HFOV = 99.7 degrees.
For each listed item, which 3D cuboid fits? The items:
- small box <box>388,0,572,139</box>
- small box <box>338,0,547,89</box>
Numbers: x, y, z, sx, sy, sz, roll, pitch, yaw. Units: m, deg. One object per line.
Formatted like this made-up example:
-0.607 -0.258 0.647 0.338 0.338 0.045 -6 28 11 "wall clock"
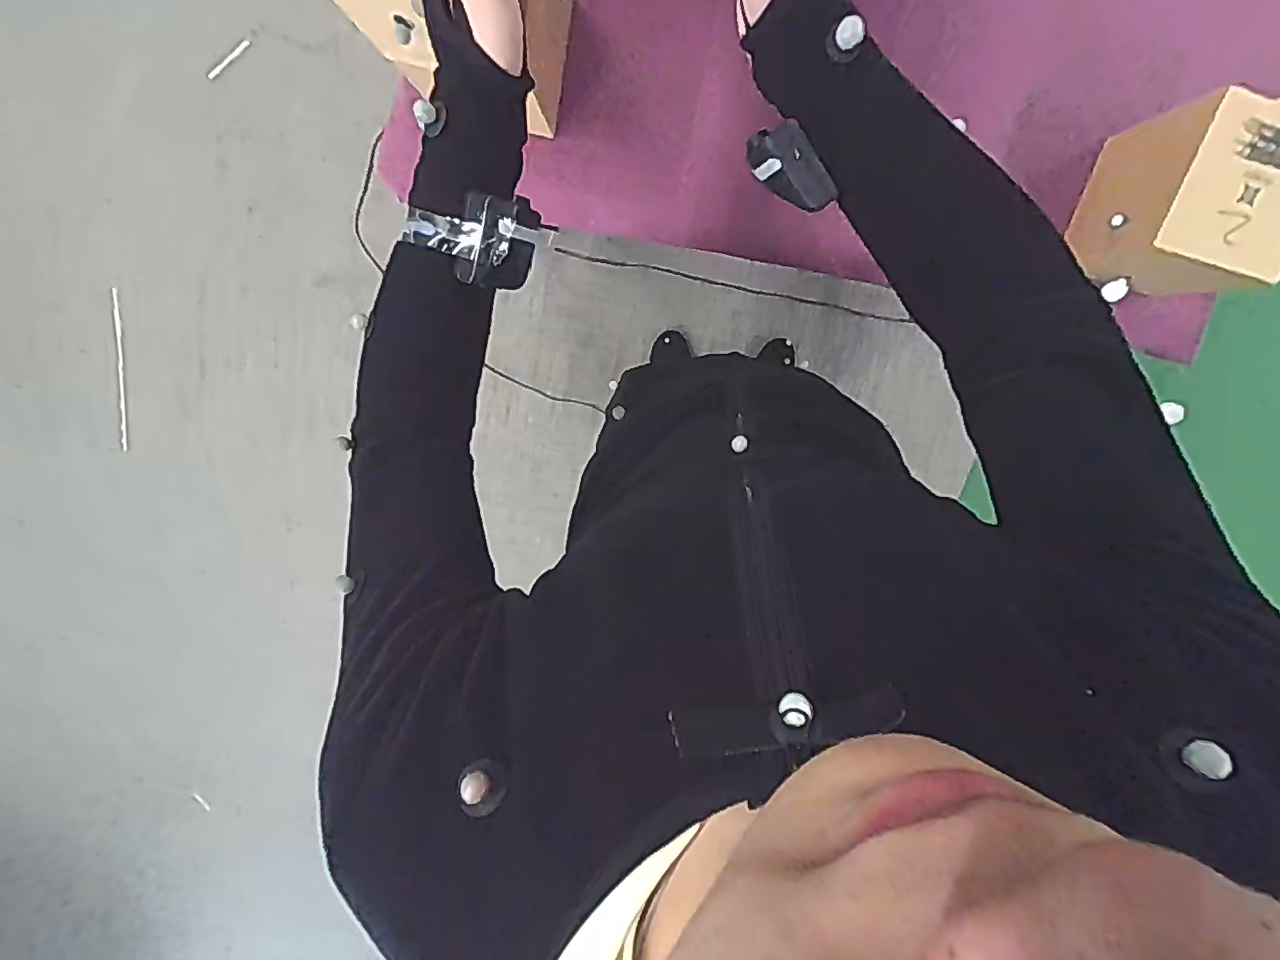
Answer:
-0.183 -0.555 0.659 0.168 0.176 0.179 11 104 -2 "small box"
-0.182 -0.508 0.504 0.168 0.176 0.179 12 103 -1 "small box"
